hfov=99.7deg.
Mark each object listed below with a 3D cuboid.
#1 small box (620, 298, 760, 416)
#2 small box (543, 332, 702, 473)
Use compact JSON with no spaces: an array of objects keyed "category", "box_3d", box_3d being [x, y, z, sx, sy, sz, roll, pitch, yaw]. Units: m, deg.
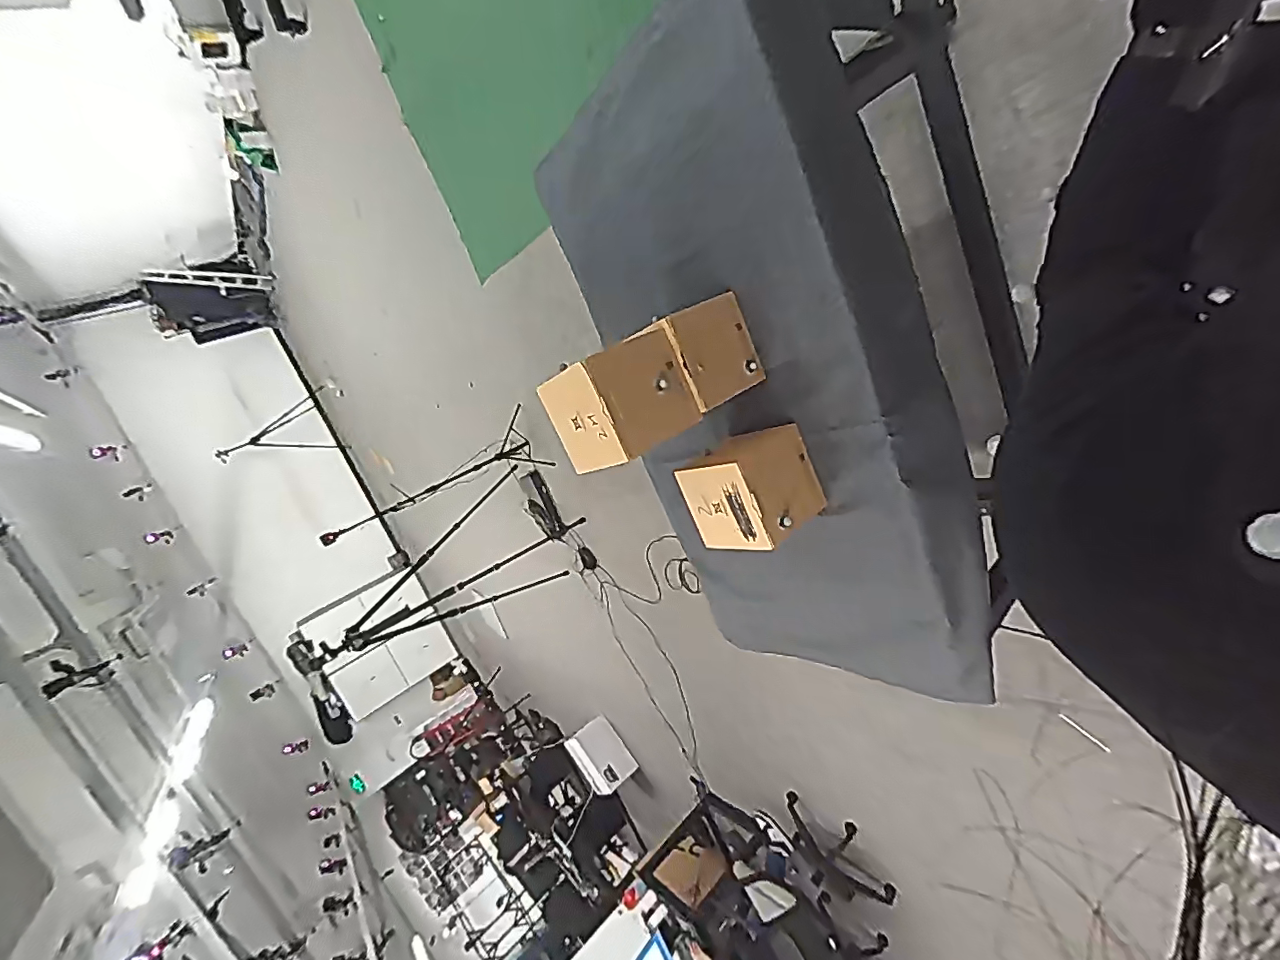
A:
[{"category":"small box","box_3d":[0.094,-0.210,0.981,0.179,0.176,0.168,-8,108,57]},{"category":"small box","box_3d":[-0.029,-0.127,0.909,0.179,0.176,0.168,-12,106,56]}]
